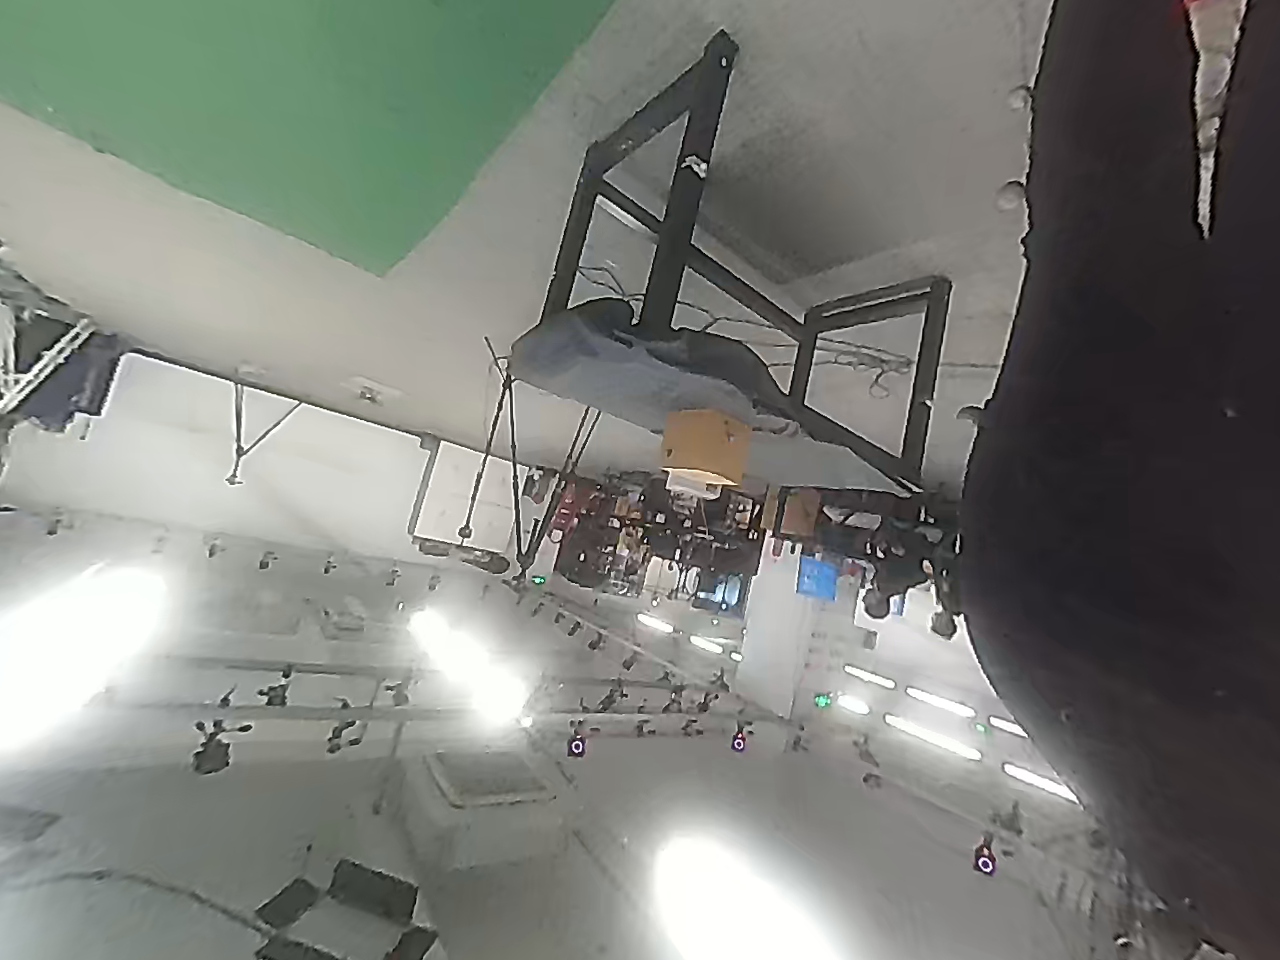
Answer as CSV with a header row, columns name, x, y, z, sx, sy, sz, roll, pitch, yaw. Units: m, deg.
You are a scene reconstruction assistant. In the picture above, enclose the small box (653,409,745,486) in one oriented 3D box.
name,x,y,z,sx,sy,sz,roll,pitch,yaw
small box,0.166,-0.090,1.496,0.168,0.176,0.179,18,171,-38
